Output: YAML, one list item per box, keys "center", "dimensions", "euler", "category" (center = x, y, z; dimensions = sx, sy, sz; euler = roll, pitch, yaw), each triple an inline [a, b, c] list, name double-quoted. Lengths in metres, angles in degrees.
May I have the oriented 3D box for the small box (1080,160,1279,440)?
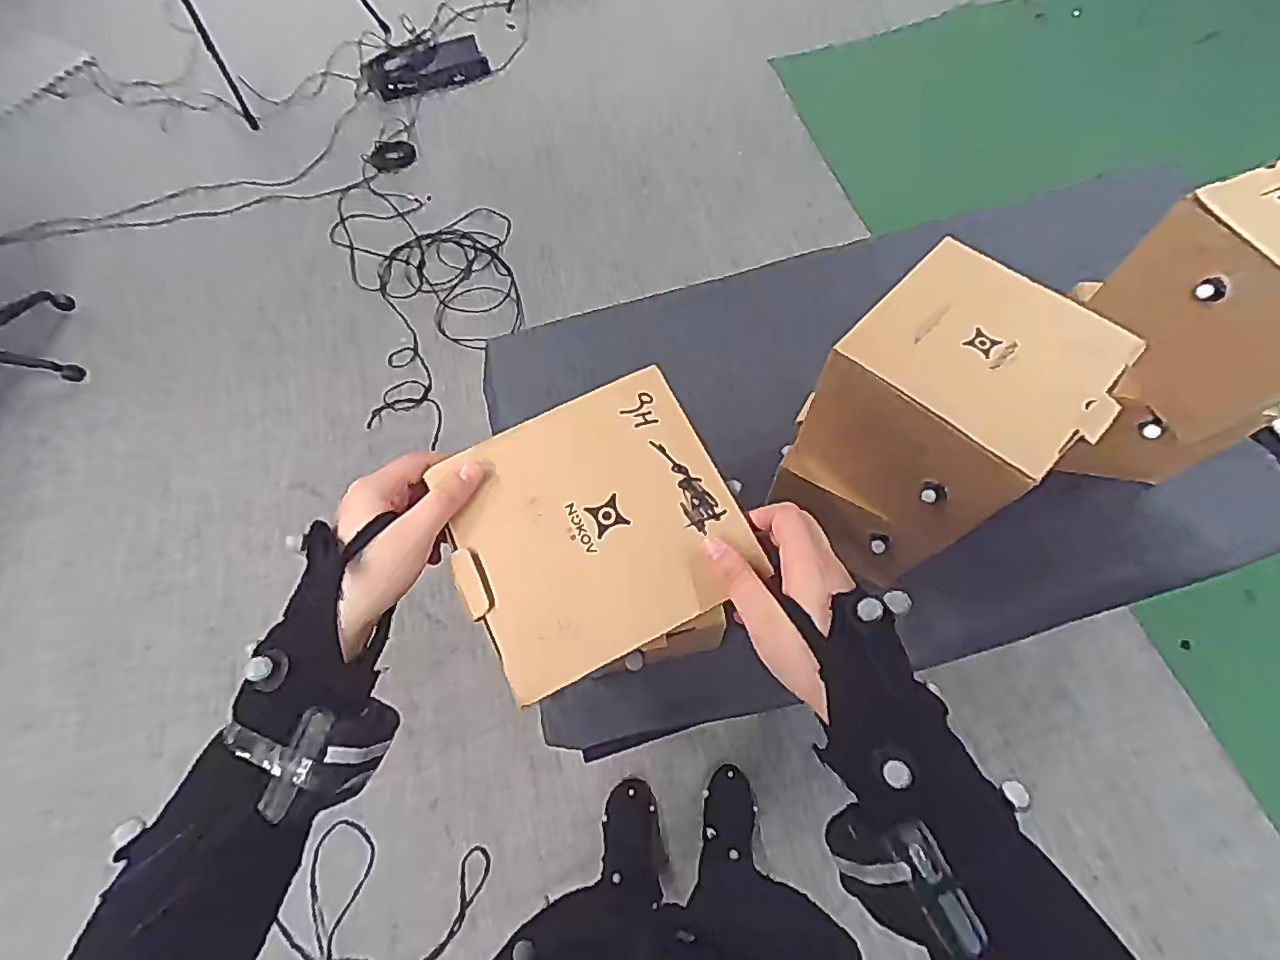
- center: [0.582, -0.169, 0.514]
  dimensions: [0.168, 0.176, 0.179]
  euler: [-22, 66, -4]
  category: "small box"

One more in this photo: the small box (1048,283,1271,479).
- center: [0.588, -0.114, 0.670]
  dimensions: [0.179, 0.176, 0.168]
  euler: [9, 67, 10]
  category: "small box"

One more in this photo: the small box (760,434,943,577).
- center: [0.265, -0.001, 0.646]
  dimensions: [0.179, 0.176, 0.168]
  euler: [29, 71, 16]
  category: "small box"

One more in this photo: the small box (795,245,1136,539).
- center: [0.271, -0.066, 0.496]
  dimensions: [0.179, 0.176, 0.168]
  euler: [41, 74, 20]
  category: "small box"
